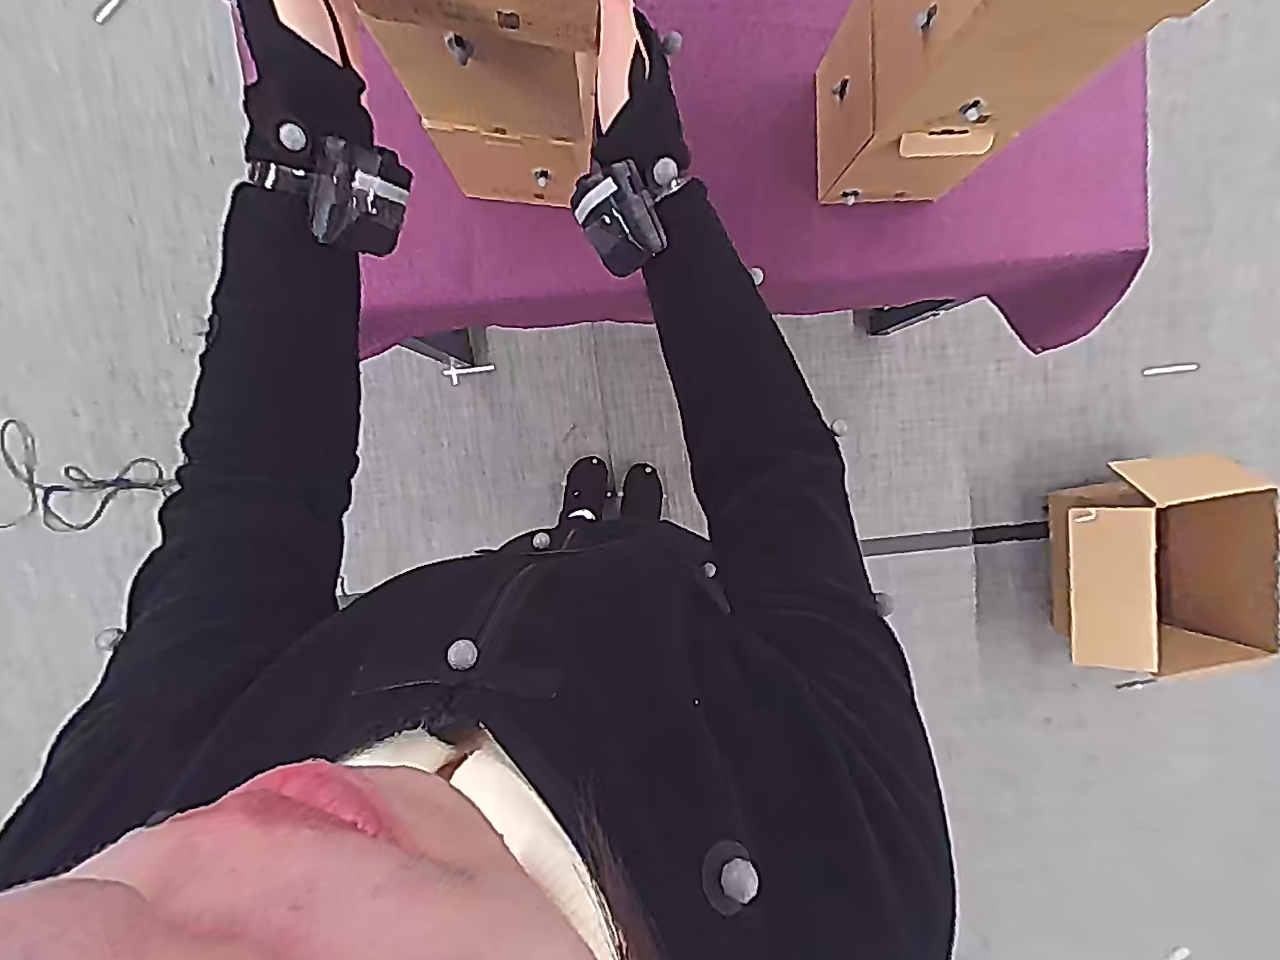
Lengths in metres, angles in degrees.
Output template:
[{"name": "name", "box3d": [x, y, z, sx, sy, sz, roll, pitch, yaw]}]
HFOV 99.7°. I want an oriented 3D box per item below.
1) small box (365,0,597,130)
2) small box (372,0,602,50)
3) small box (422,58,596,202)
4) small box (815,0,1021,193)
[{"name": "small box", "box3d": [-0.131, -0.446, 0.479, 0.179, 0.176, 0.168, 6, 95, -4]}, {"name": "small box", "box3d": [-0.094, -0.389, 0.289, 0.168, 0.176, 0.179, 3, 96, -8]}, {"name": "small box", "box3d": [-0.143, -0.458, 0.643, 0.168, 0.176, 0.179, 5, 94, -3]}, {"name": "small box", "box3d": [0.322, -0.469, 0.656, 0.168, 0.176, 0.179, -3, 94, -2]}]
